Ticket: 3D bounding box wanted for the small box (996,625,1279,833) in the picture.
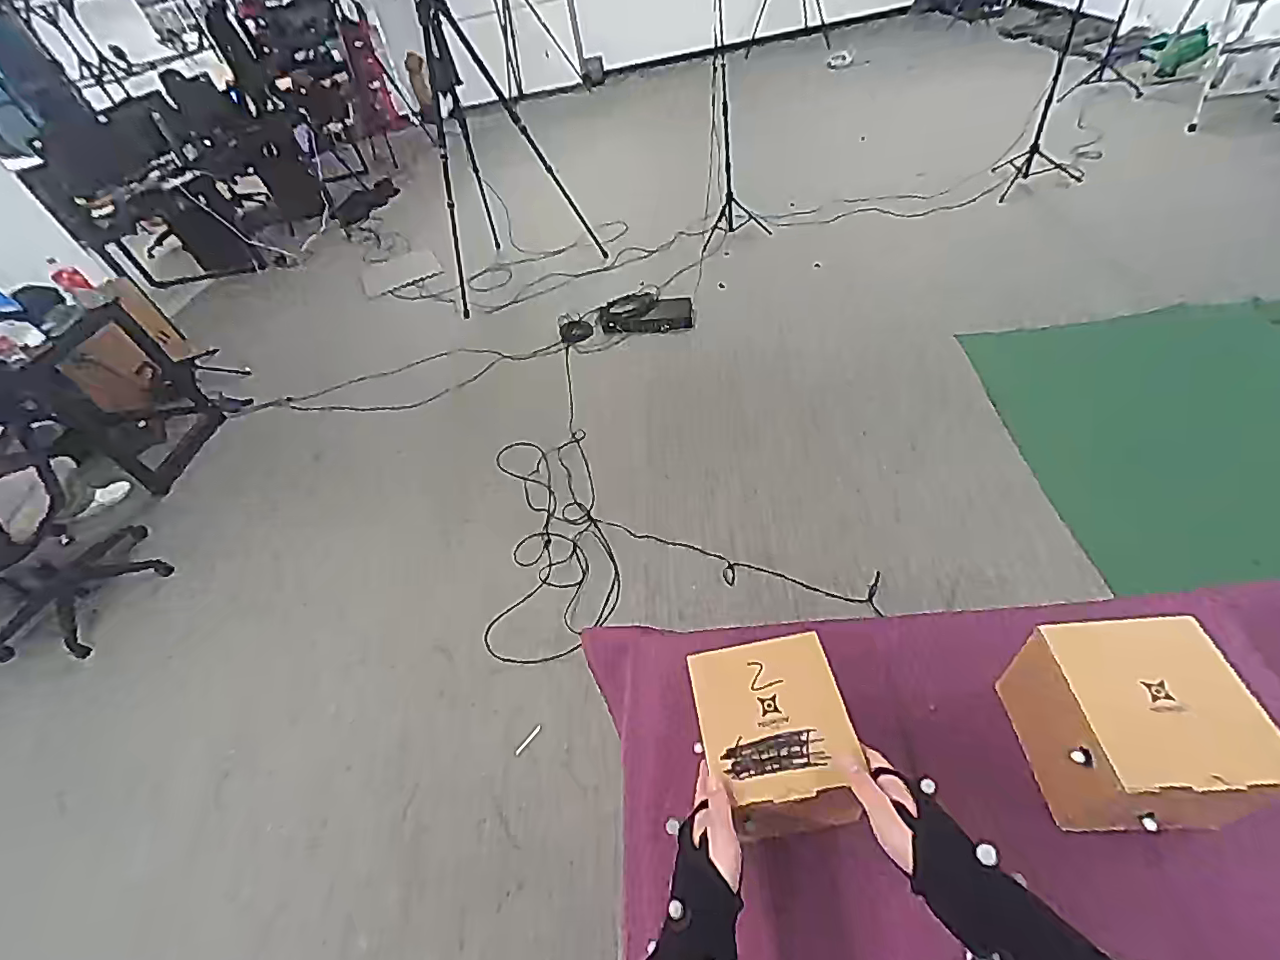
[{"bbox_3d":[0.552,0.288,0.624,0.168,0.176,0.179,-5,47,7],"label":"small box"}]
